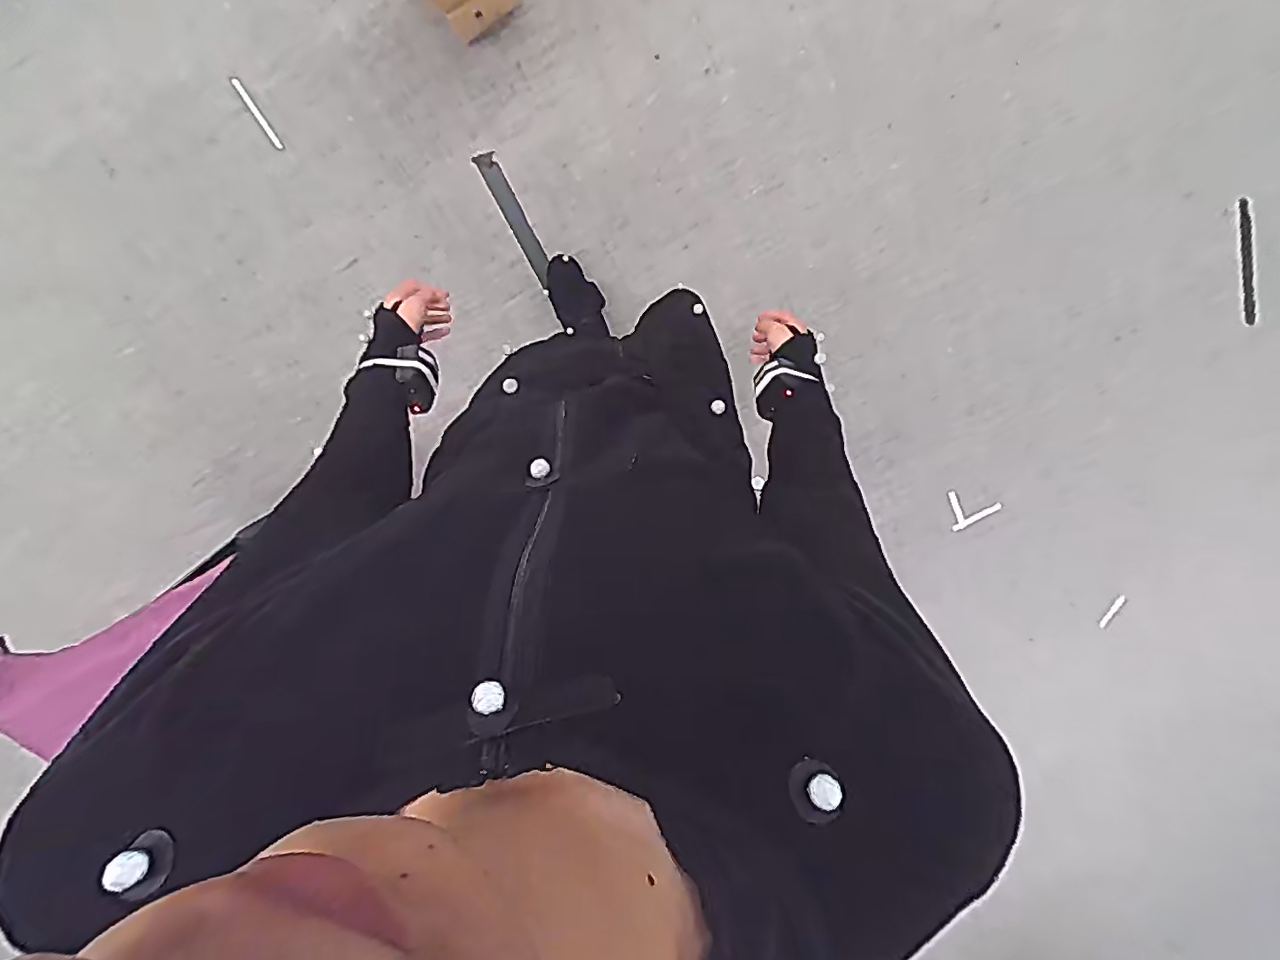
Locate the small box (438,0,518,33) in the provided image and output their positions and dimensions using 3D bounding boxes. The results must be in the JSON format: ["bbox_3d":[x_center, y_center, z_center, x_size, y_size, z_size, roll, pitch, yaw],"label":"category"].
[{"bbox_3d":[-0.365,-1.070,1.113,0.168,0.176,0.179,-30,112,8],"label":"small box"}]
